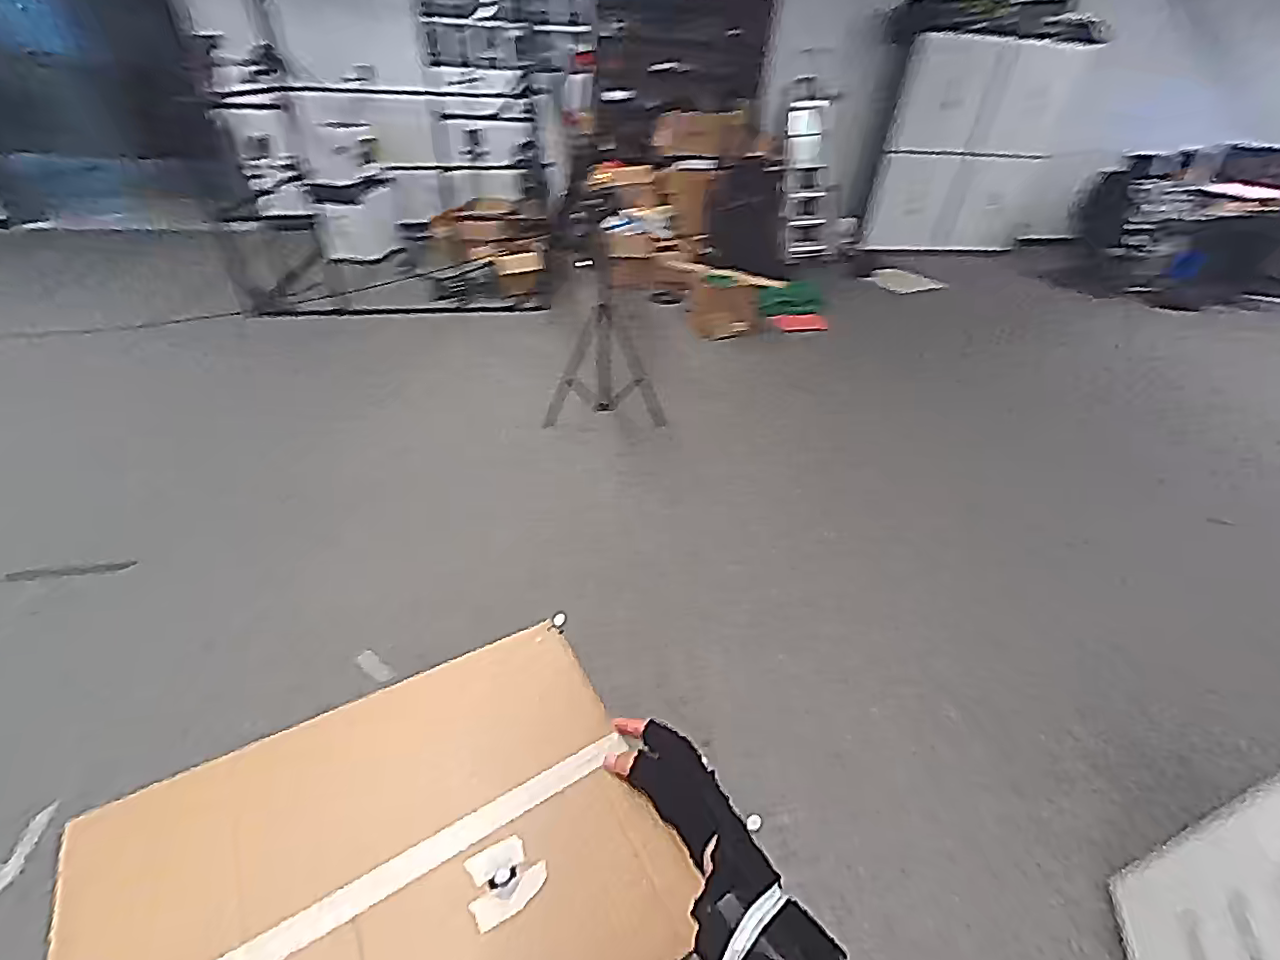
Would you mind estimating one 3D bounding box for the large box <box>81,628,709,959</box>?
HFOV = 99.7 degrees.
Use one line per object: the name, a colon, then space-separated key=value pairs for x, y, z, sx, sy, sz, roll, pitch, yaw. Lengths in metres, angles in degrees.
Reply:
large box: x=-0.206 y=0.424 z=0.525 sx=0.408 sy=0.320 sz=0.320 roll=-18 pitch=48 yaw=-29
